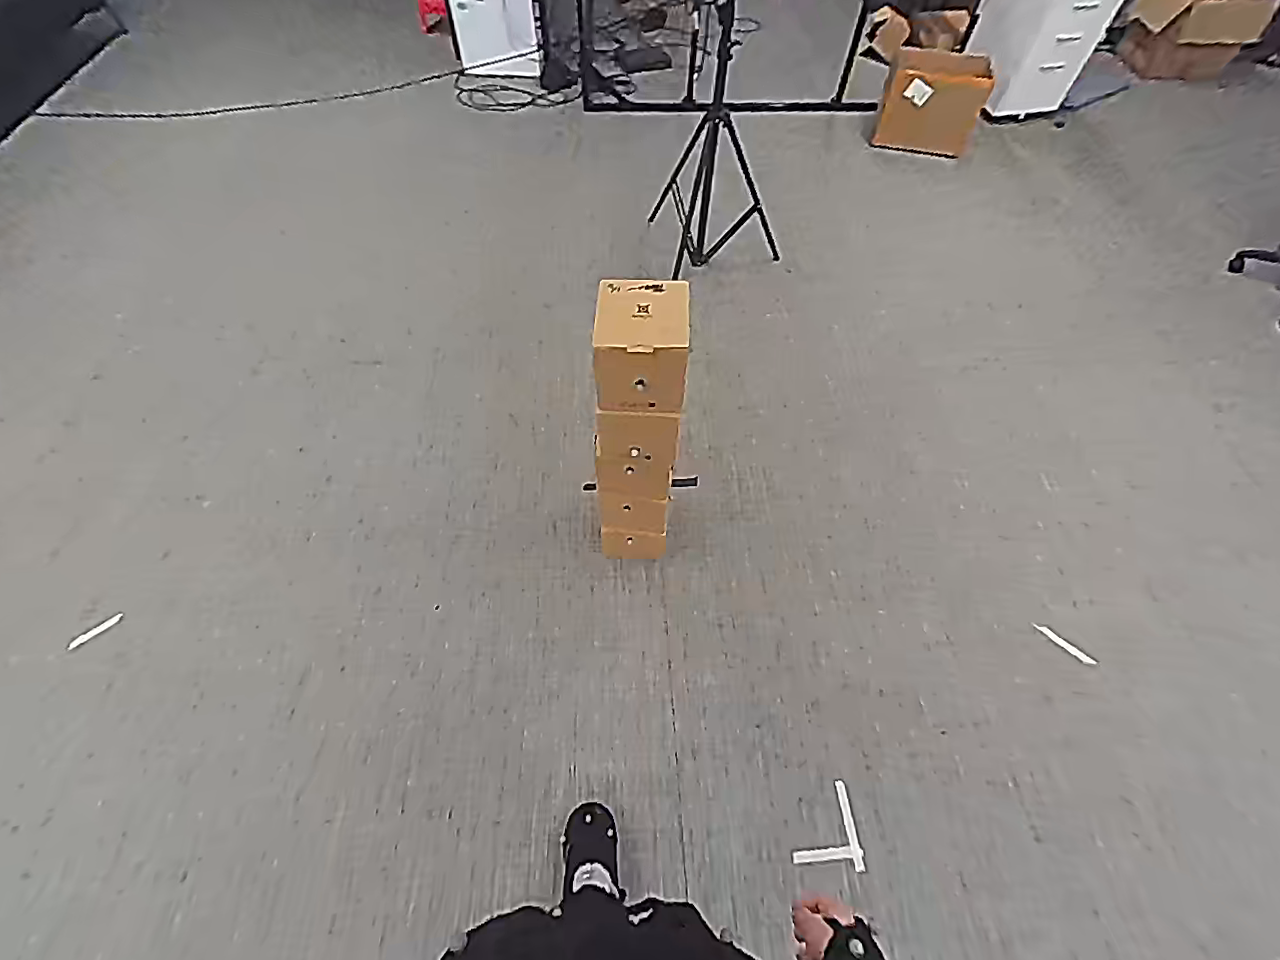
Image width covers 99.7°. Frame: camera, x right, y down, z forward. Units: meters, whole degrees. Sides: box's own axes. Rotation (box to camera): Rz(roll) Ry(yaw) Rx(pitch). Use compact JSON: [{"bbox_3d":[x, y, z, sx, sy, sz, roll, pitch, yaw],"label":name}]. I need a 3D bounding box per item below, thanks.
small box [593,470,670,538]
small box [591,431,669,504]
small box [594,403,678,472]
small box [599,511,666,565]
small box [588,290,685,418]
[{"bbox_3d":[-0.018,0.040,1.428,0.179,0.176,0.168,7,58,4],"label":"small box"},{"bbox_3d":[-0.017,-0.054,1.296,0.179,0.176,0.168,5,58,2],"label":"small box"},{"bbox_3d":[-0.003,-0.139,1.155,0.168,0.176,0.179,4,59,3],"label":"small box"},{"bbox_3d":[-0.019,0.135,1.562,0.179,0.176,0.168,4,58,2],"label":"small box"},{"bbox_3d":[-0.001,-0.234,1.021,0.168,0.176,0.179,2,59,1],"label":"small box"}]
